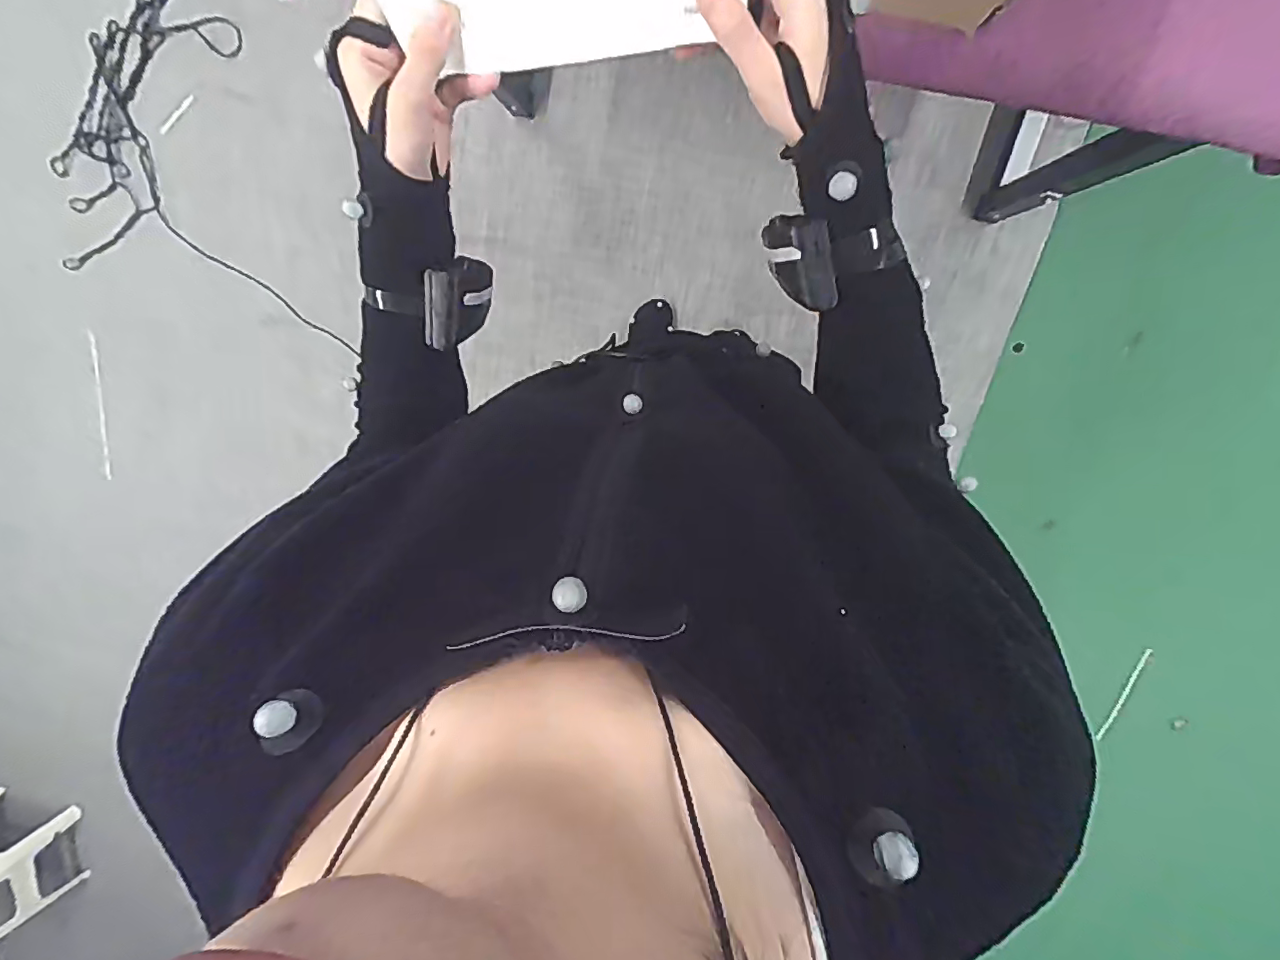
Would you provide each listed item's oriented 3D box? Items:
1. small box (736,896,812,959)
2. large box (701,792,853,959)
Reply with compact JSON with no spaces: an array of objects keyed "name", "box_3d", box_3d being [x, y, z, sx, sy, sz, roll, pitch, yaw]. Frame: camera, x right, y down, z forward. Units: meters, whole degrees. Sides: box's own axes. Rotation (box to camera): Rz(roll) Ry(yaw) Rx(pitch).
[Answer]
[{"name":"small box","box_3d":[0.342,1.238,1.413,0.168,0.176,0.179,5,105,6]},{"name":"large box","box_3d":[0.396,1.205,1.654,0.408,0.320,0.320,-1,106,6]}]
